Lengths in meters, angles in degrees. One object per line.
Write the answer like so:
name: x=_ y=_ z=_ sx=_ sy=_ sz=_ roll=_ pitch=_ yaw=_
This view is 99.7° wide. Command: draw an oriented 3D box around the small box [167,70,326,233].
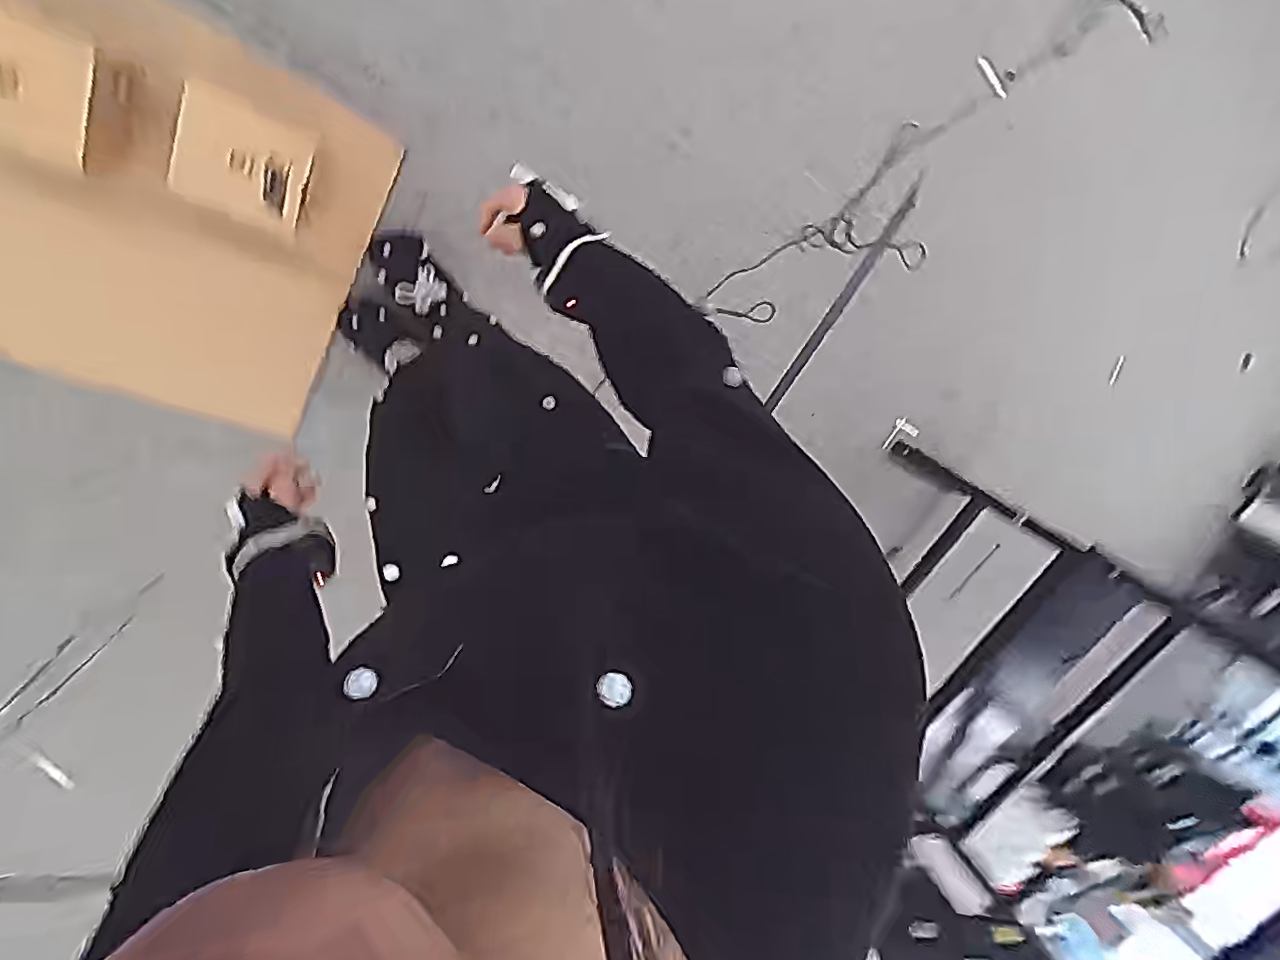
small box: x=-0.654 y=-0.553 z=0.920 sx=0.179 sy=0.176 sz=0.168 roll=18 pitch=111 yaw=-32
